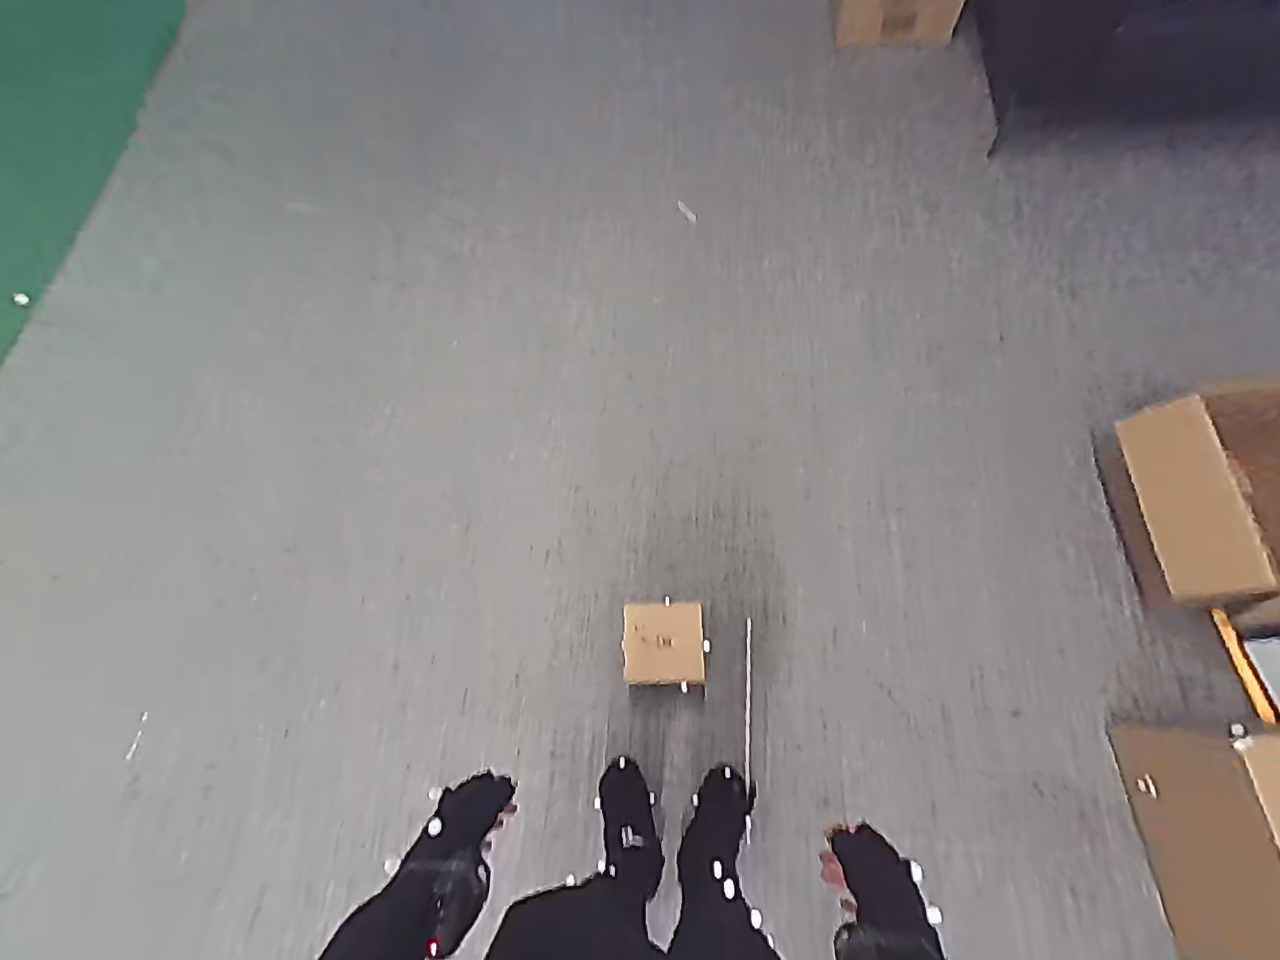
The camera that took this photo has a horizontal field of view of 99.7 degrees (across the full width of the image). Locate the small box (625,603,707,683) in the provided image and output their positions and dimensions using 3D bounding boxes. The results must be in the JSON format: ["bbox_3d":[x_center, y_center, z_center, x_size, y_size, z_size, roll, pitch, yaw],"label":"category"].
[{"bbox_3d":[0.062,0.376,1.243,0.179,0.176,0.168,-2,69,5],"label":"small box"}]
